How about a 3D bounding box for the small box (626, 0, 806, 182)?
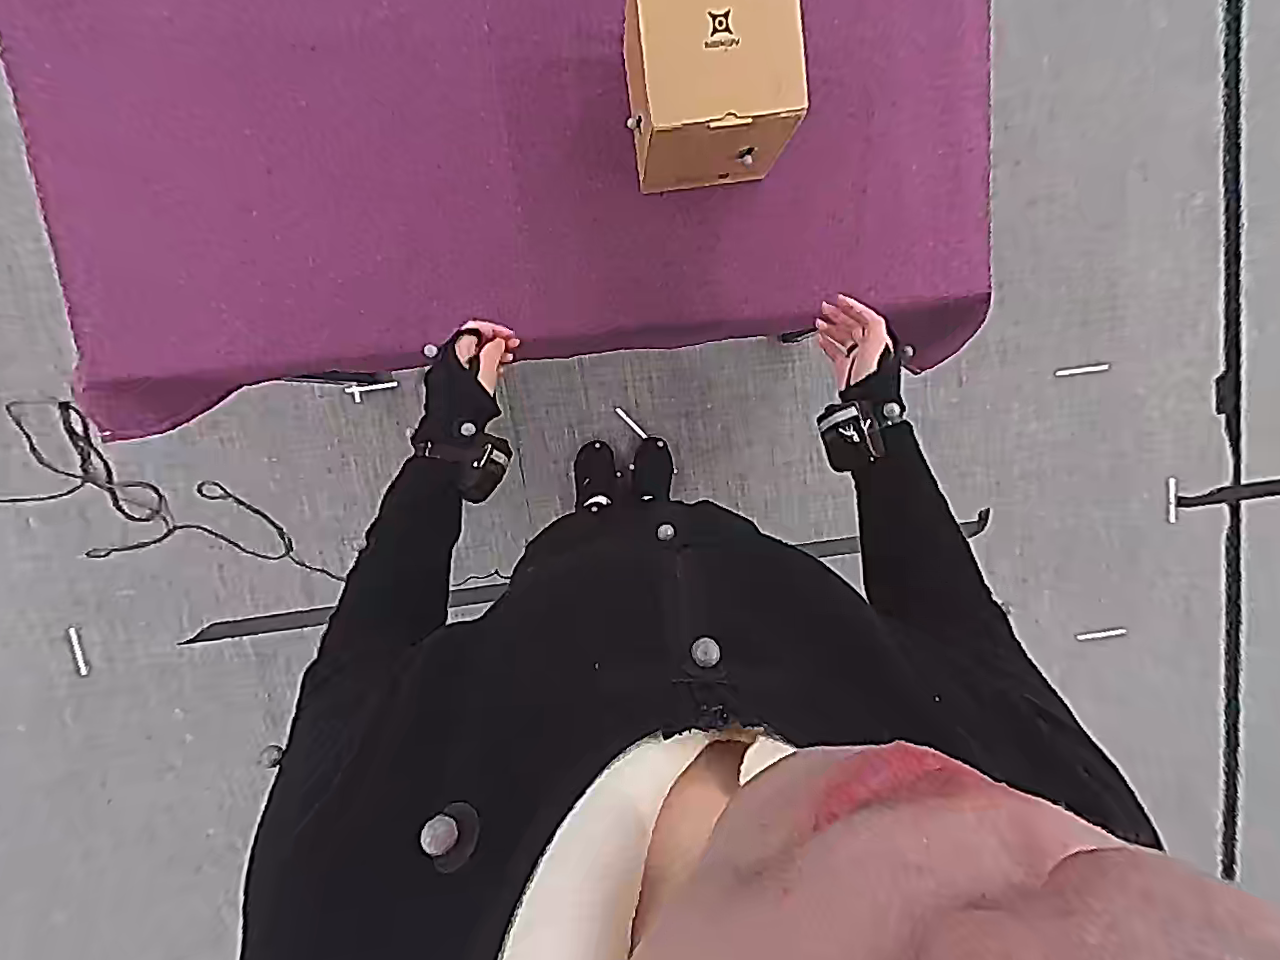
[{"bbox_3d":[0.076,-0.462,0.616,0.168,0.176,0.179,-8,98,-3],"label":"small box"}]
